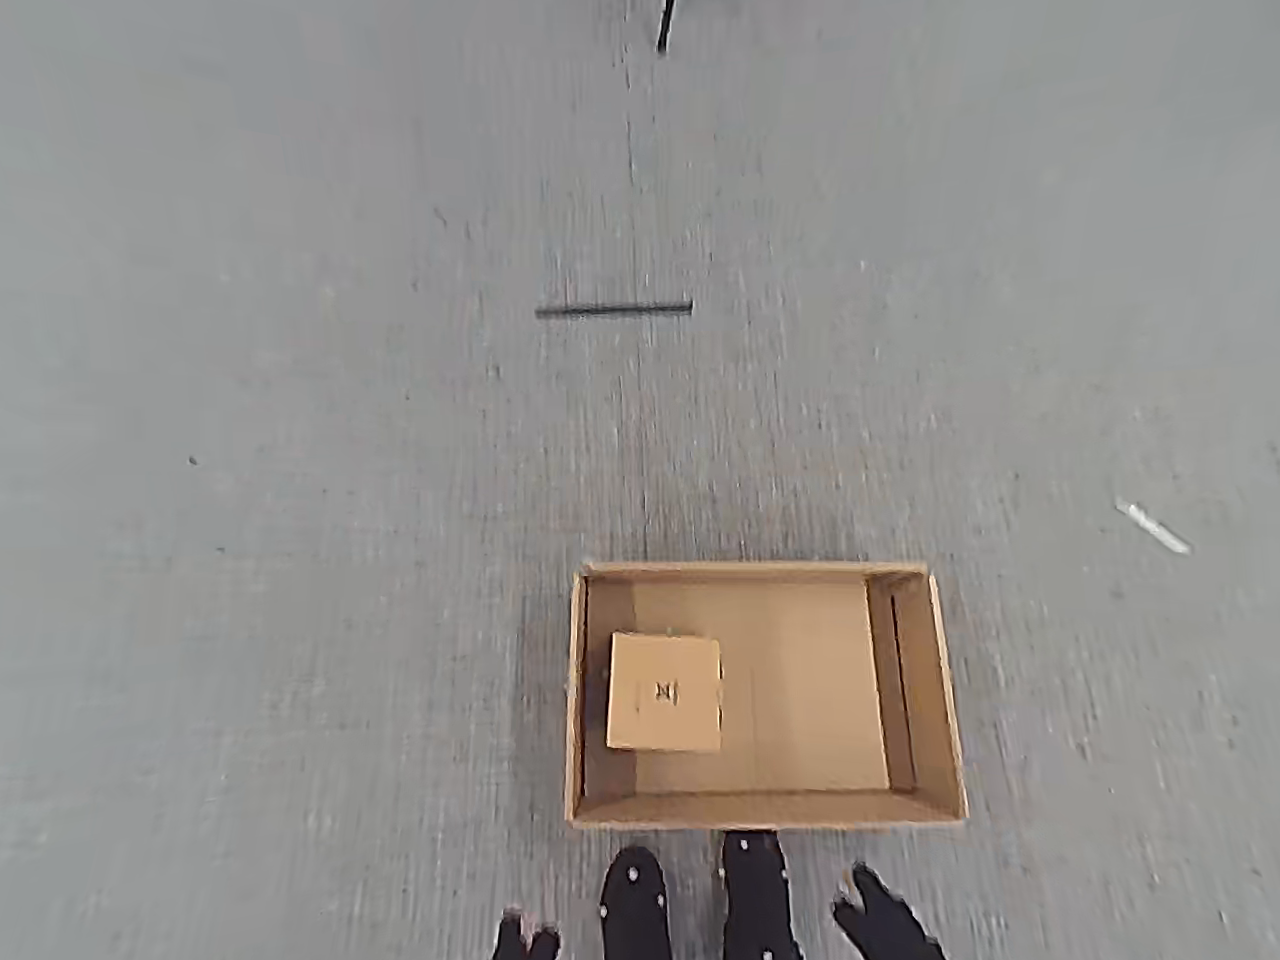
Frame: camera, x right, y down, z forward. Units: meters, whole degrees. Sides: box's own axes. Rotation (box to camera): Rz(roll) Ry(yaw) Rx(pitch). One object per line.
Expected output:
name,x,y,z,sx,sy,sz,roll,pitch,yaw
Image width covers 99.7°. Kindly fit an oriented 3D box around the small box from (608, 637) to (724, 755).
small box,0.040,0.356,0.916,0.179,0.176,0.168,3,73,-1
